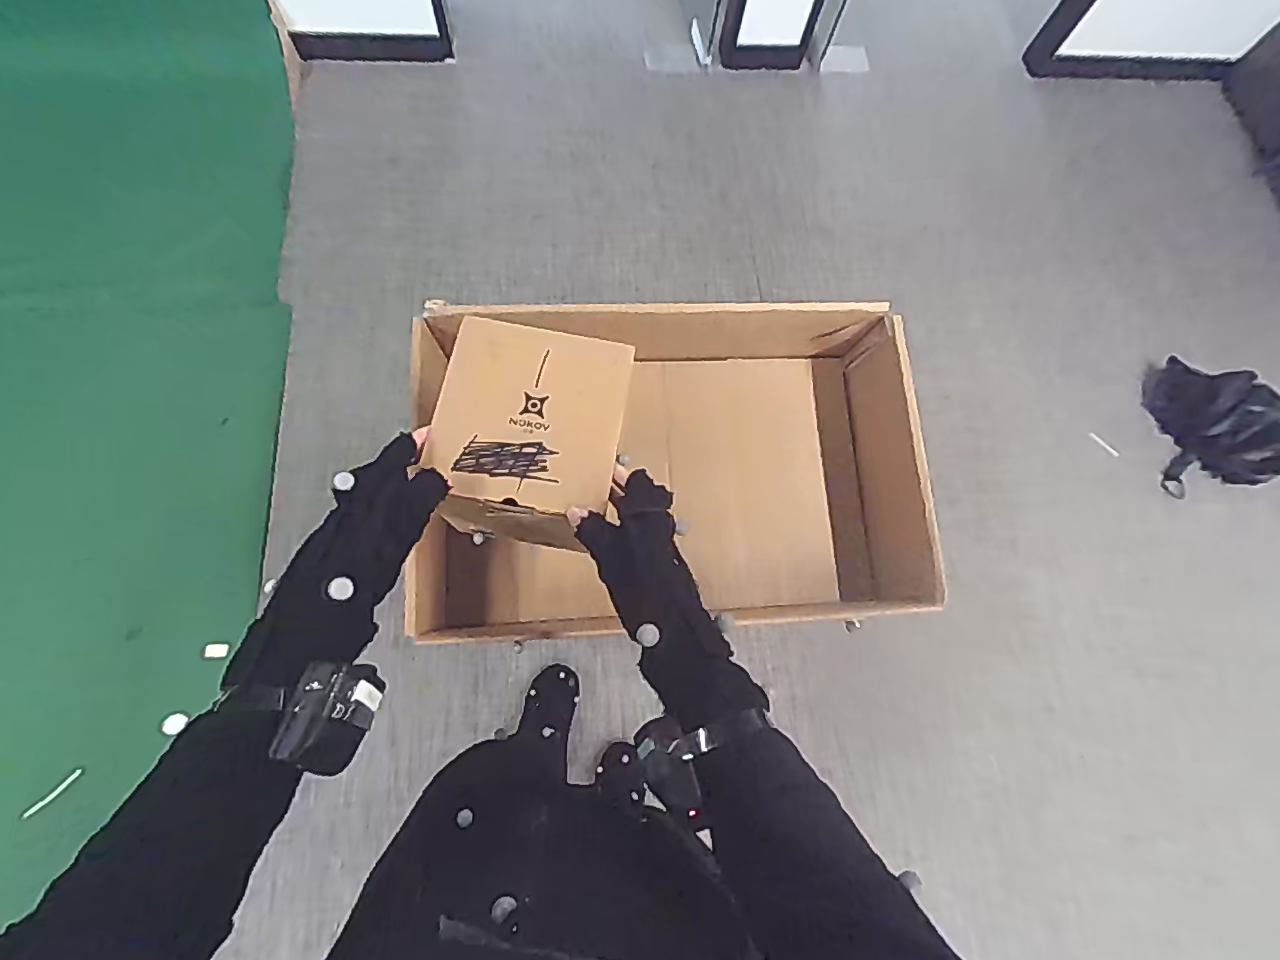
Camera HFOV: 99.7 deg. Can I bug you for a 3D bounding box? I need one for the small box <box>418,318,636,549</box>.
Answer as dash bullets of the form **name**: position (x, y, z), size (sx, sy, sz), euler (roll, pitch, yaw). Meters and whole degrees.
- **small box**: position (-0.103, -0.035, 0.567), size (0.168, 0.176, 0.179), euler (11, 71, -1)
